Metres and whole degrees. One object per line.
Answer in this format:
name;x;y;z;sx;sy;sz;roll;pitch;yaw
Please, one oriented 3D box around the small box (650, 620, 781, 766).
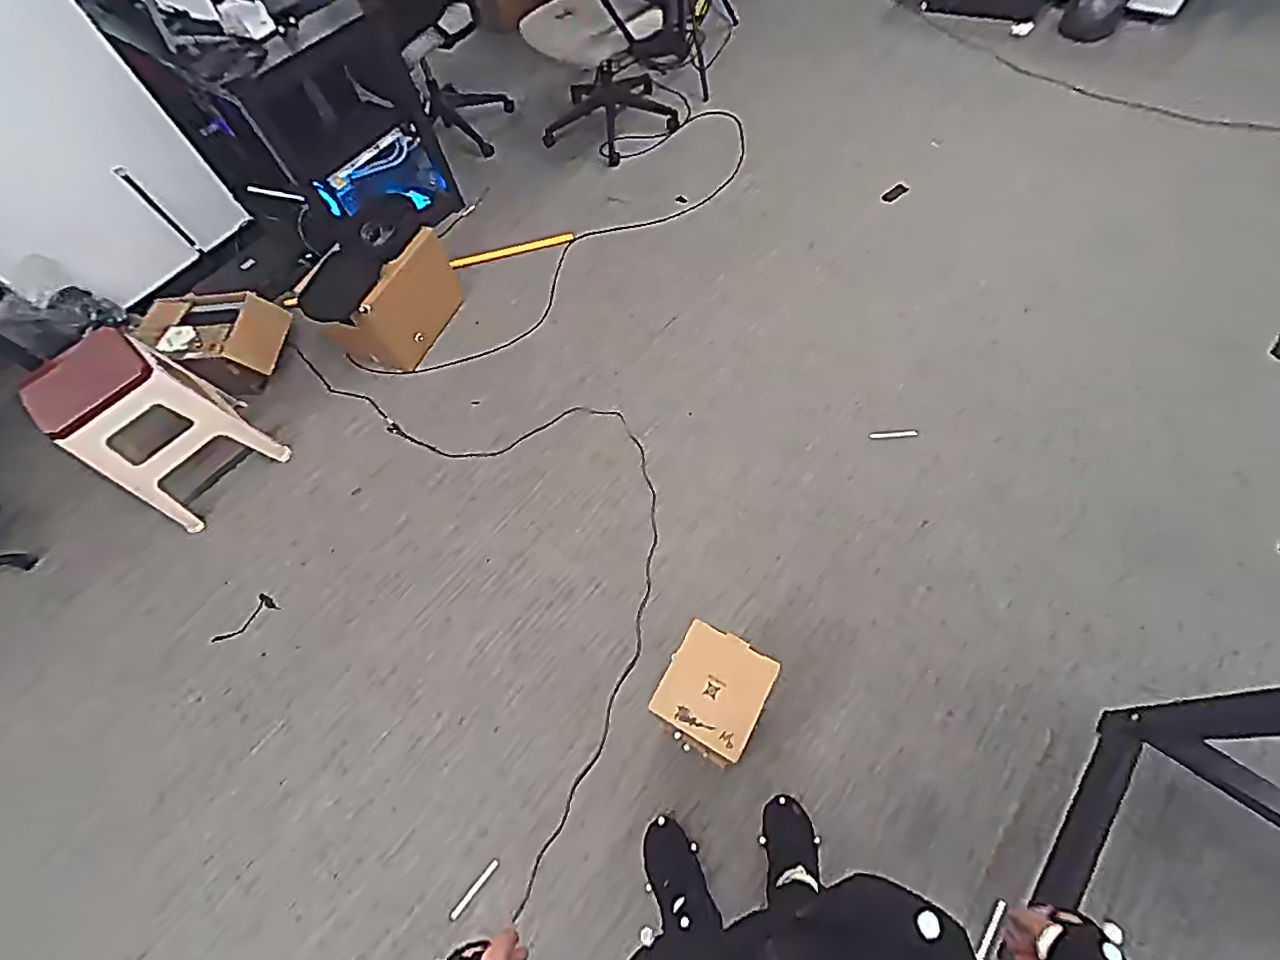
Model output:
small box;0.133;0.386;0.973;0.168;0.176;0.179;25;67;20
